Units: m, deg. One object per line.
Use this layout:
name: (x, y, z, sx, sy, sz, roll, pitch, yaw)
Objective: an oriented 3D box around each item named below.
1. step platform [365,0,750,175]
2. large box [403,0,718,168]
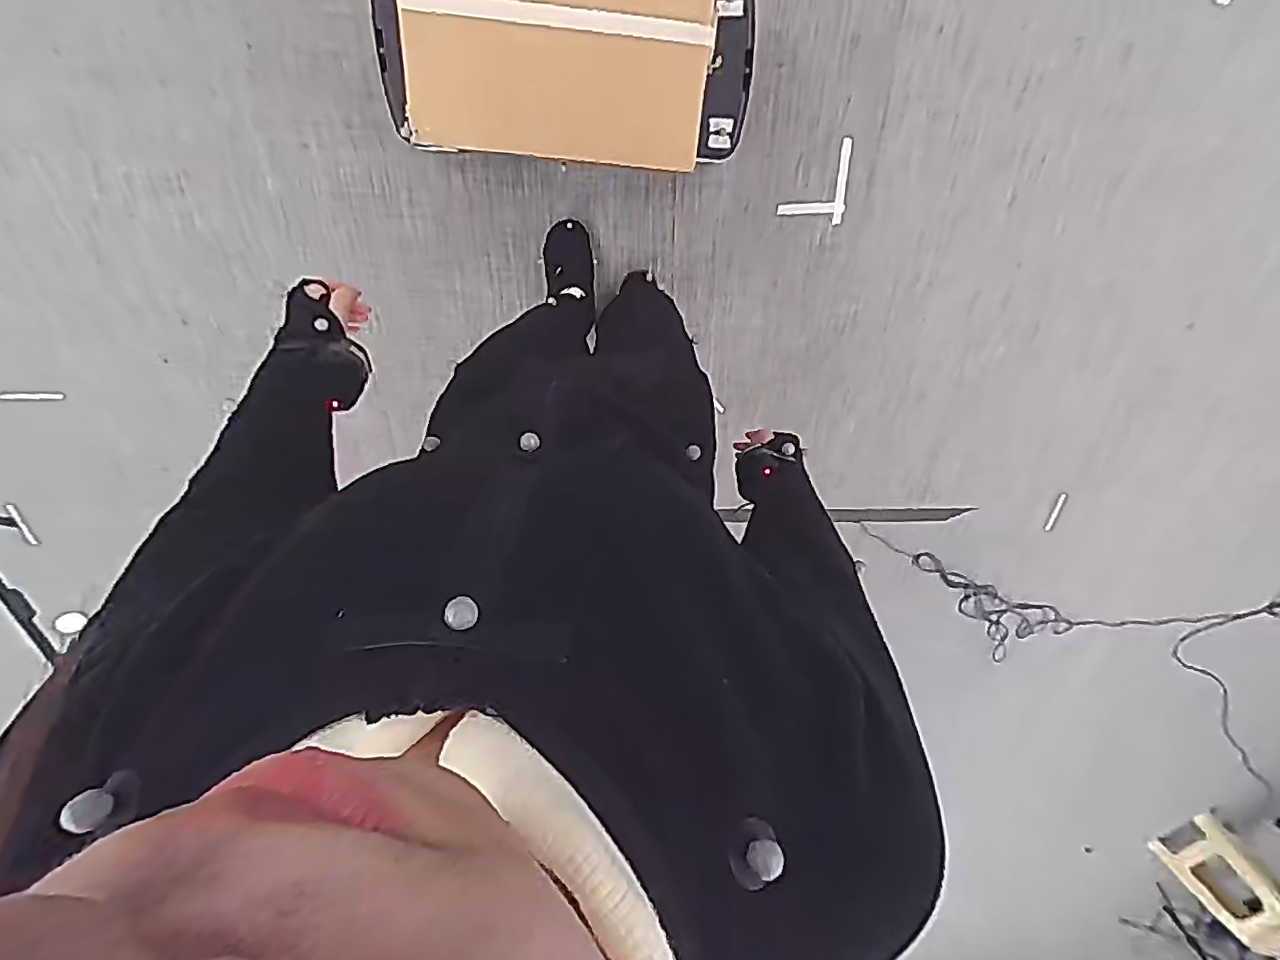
step platform: (-0.142, -0.781, 1.024, 0.684, 0.204, 0.286, 5, 119, -5)
large box: (-0.103, -0.666, 0.818, 0.408, 0.320, 0.320, 3, 119, -4)
